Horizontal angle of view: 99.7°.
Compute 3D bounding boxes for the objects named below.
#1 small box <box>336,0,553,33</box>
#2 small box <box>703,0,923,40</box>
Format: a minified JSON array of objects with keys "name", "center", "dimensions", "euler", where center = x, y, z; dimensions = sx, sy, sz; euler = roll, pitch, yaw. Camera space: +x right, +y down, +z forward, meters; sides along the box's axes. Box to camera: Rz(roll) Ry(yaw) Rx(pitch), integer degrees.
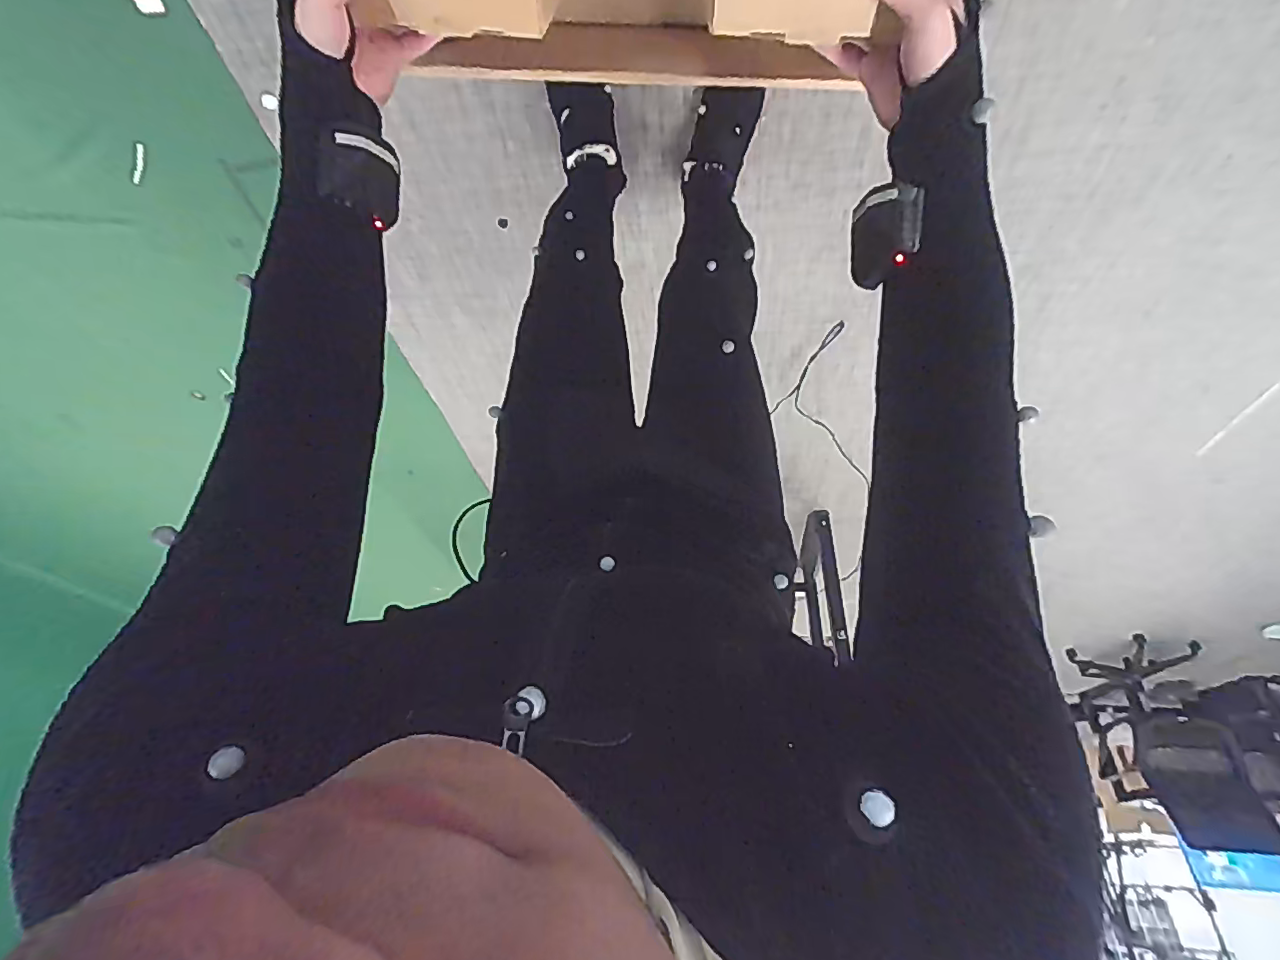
[{"name":"small box","center":[-0.154,-0.482,0.410],"dimensions":[0.168,0.176,0.179],"euler":[4,149,2]},{"name":"small box","center":[0.138,-0.467,0.401],"dimensions":[0.168,0.176,0.179],"euler":[2,144,-1]}]
